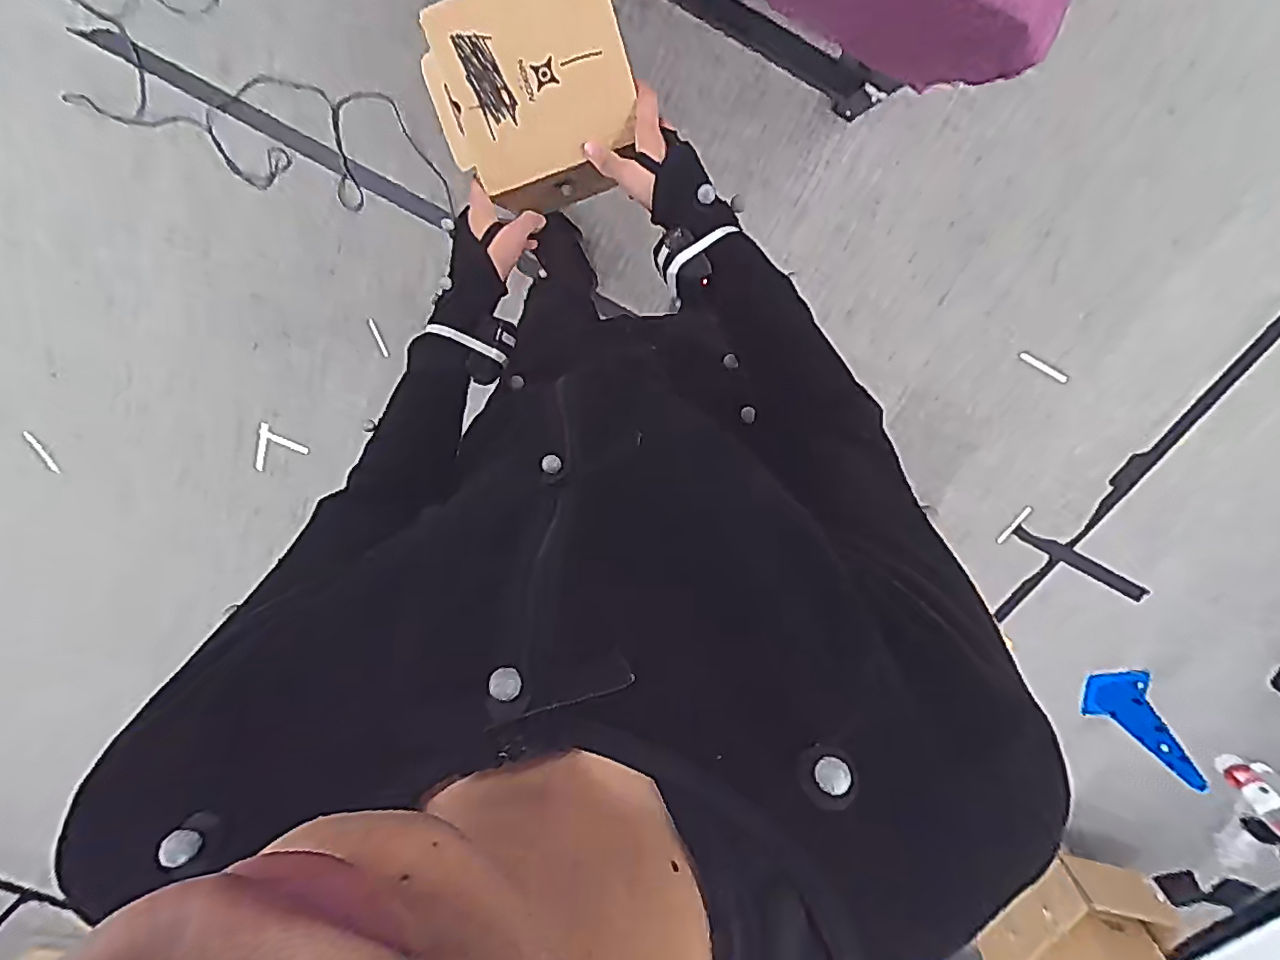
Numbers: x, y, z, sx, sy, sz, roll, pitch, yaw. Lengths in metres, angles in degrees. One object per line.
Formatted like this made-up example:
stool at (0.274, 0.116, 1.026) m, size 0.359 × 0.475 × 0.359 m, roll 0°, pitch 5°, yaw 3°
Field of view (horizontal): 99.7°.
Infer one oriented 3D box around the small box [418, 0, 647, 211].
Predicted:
small box at (-0.097, -0.411, 0.585) m, size 0.179 × 0.176 × 0.168 m, roll -17°, pitch 107°, yaw 7°
